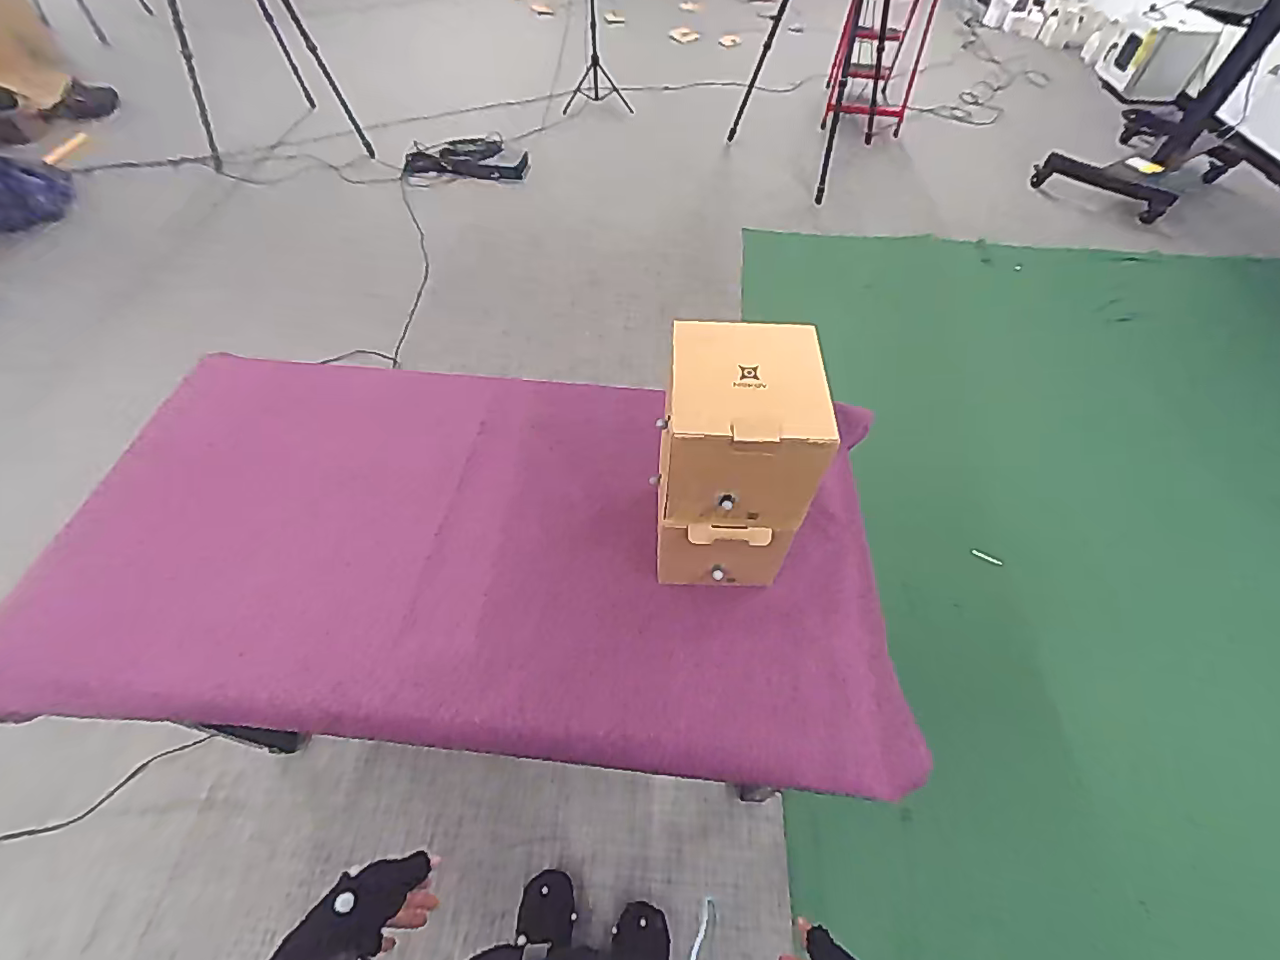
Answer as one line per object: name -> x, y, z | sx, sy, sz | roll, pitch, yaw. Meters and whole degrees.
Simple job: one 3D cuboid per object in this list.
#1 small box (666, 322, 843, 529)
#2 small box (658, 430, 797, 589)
small box -> 0.118, -0.061, 0.639 | 0.168, 0.176, 0.179 | 2, 55, 0
small box -> 0.112, 0.037, 0.769 | 0.168, 0.176, 0.179 | 2, 55, 1
